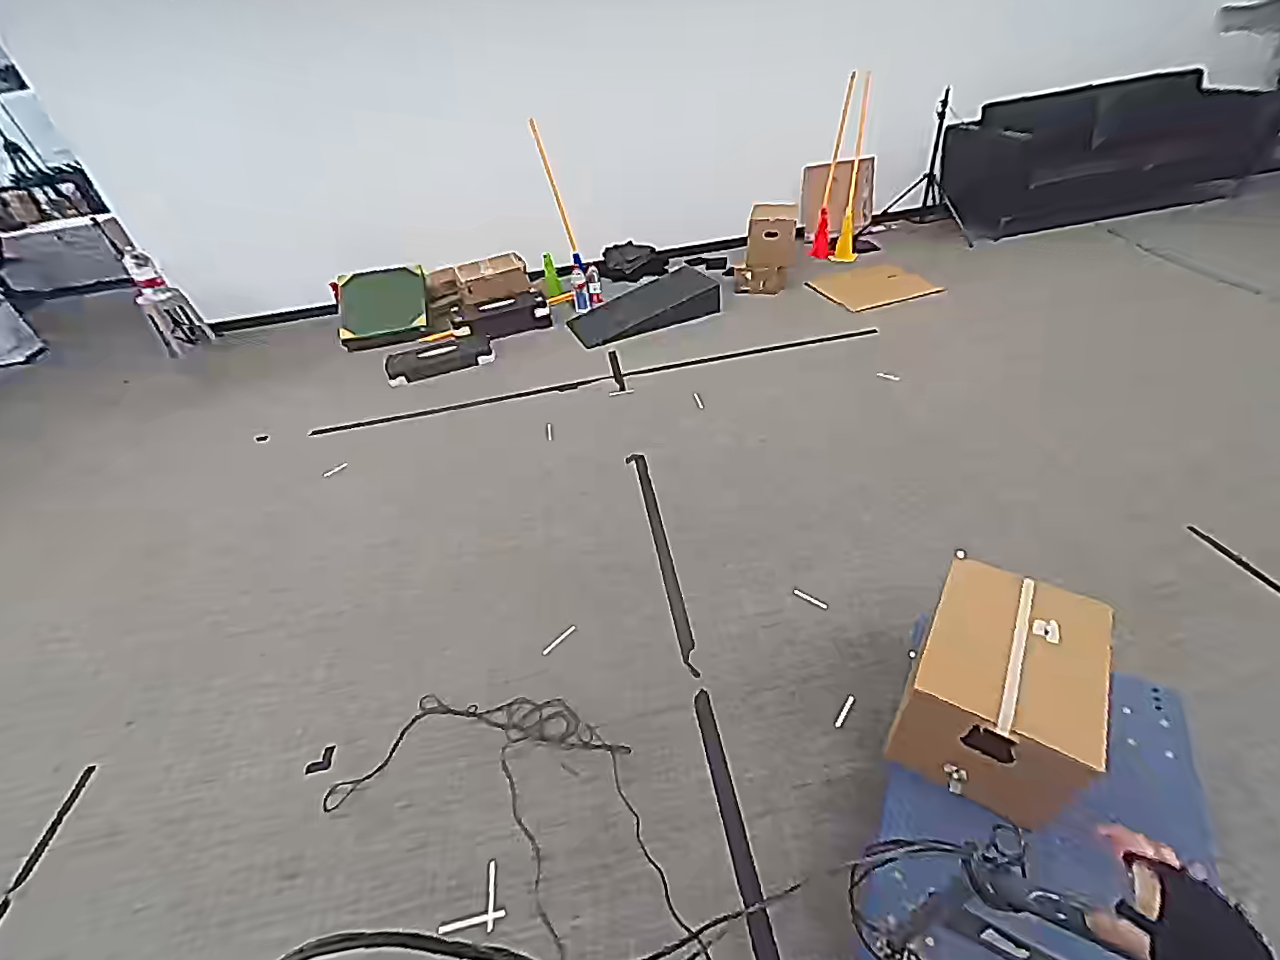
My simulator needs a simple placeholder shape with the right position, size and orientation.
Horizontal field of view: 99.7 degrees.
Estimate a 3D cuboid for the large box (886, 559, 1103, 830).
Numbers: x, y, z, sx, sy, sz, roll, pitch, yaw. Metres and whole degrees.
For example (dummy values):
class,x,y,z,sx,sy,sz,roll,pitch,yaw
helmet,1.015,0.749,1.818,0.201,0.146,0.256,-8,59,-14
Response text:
class,x,y,z,sx,sy,sz,roll,pitch,yaw
large box,0.782,0.460,1.211,0.320,0.320,0.408,20,46,28
